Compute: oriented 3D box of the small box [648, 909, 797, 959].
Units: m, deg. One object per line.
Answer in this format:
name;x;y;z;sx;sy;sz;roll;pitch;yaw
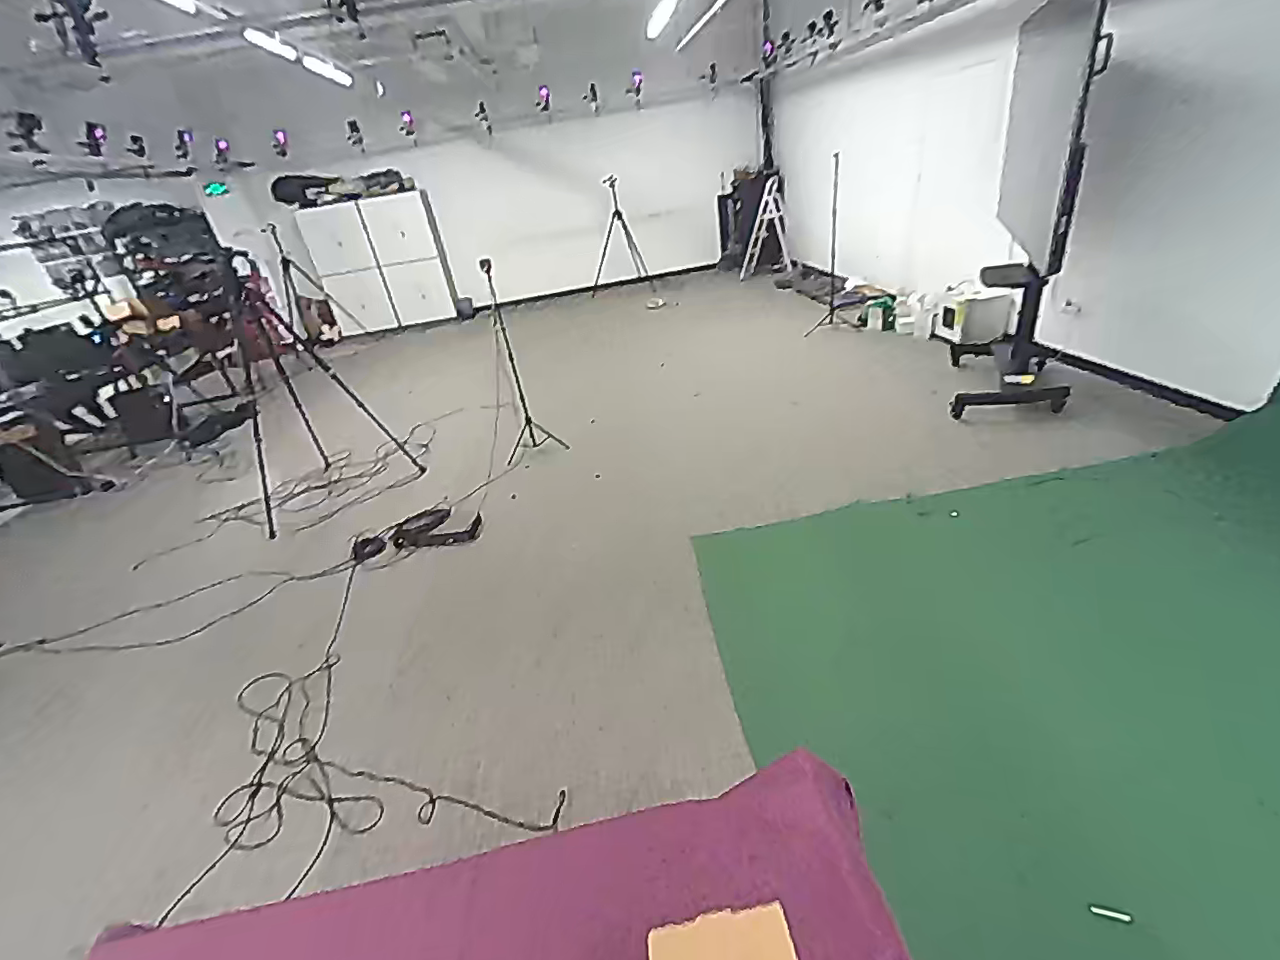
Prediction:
small box;0.108;0.622;0.580;0.168;0.176;0.179;-13;18;0
